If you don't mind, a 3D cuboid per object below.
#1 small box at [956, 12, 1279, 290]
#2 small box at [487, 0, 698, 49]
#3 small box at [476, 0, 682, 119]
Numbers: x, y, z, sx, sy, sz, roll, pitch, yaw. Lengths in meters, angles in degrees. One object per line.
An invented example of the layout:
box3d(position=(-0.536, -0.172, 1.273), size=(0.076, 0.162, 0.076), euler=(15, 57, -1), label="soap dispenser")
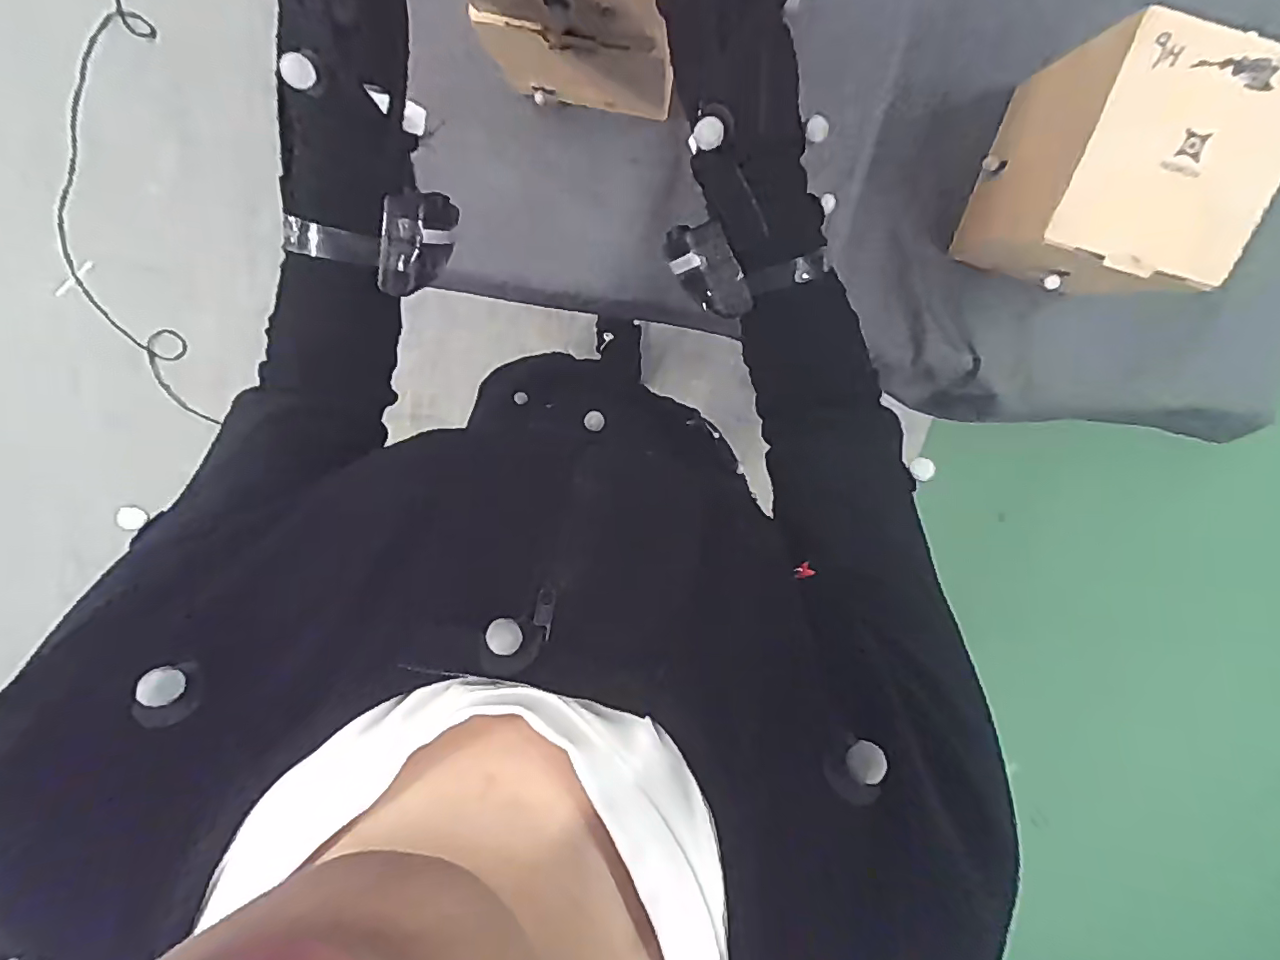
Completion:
box3d(position=(0.450, -0.295, 0.531), size=(0.168, 0.176, 0.179), euler=(14, 108, -3), label="small box")
box3d(position=(-0.034, -0.409, 0.323), size=(0.168, 0.176, 0.179), euler=(7, 105, 2), label="small box")
box3d(position=(-0.037, -0.462, 0.492), size=(0.168, 0.176, 0.179), euler=(10, 107, -2), label="small box")
